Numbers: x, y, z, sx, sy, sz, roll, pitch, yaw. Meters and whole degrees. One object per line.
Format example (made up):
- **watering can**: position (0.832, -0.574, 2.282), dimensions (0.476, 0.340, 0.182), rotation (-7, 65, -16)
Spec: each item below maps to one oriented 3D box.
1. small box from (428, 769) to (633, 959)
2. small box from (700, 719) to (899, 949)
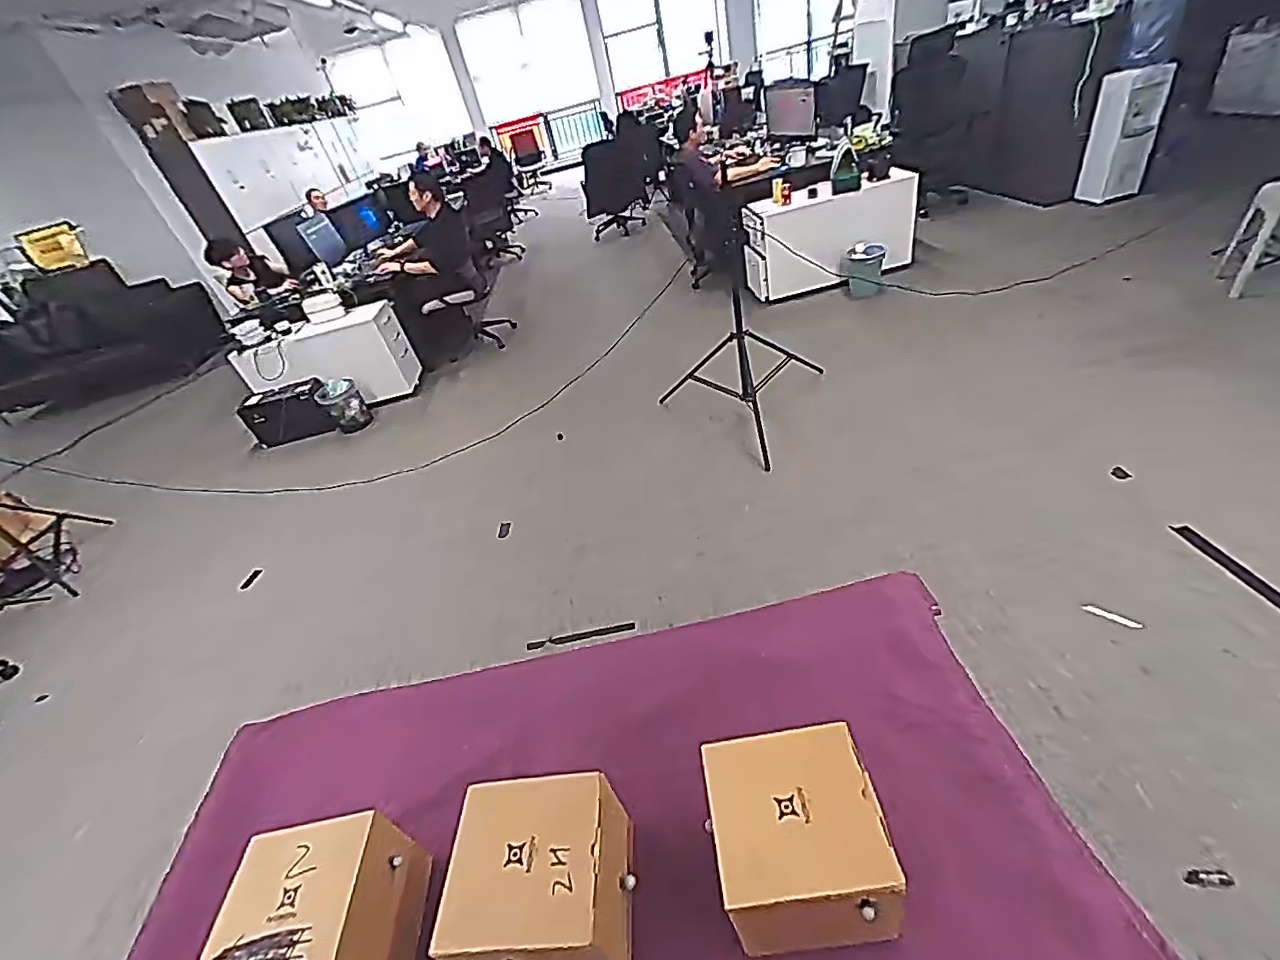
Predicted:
- **small box**: position (-0.114, 0.474, 0.647), dimensions (0.179, 0.176, 0.168), rotation (-9, 37, 8)
- **small box**: position (0.178, 0.410, 0.627), dimensions (0.179, 0.176, 0.168), rotation (-12, 35, 5)
